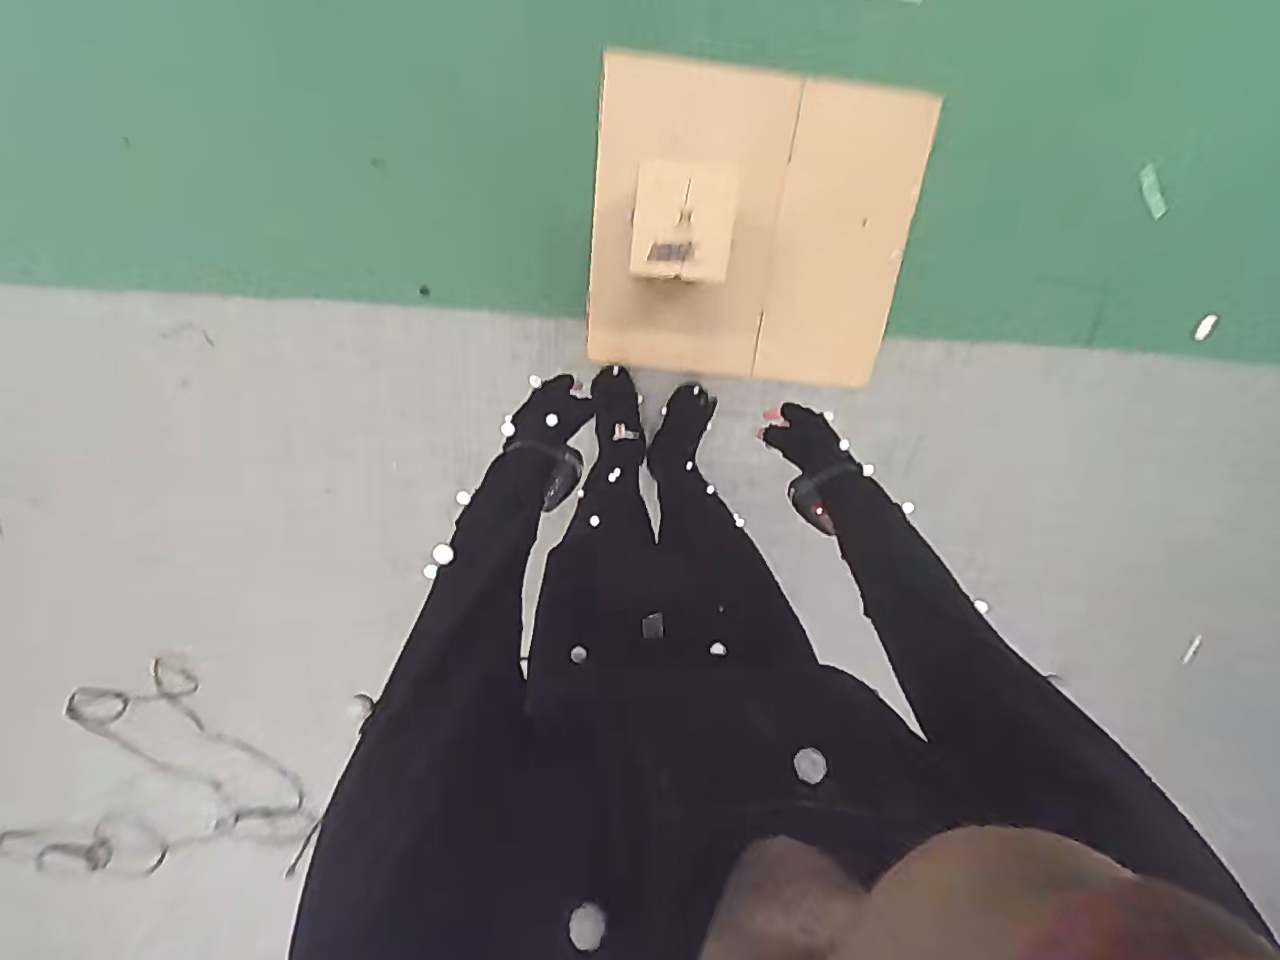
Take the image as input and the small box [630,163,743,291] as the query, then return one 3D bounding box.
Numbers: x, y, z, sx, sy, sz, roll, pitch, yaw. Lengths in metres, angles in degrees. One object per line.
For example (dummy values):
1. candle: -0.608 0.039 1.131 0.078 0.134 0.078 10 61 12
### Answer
1. small box: 0.074 -0.437 0.957 0.168 0.176 0.179 6 110 -3
